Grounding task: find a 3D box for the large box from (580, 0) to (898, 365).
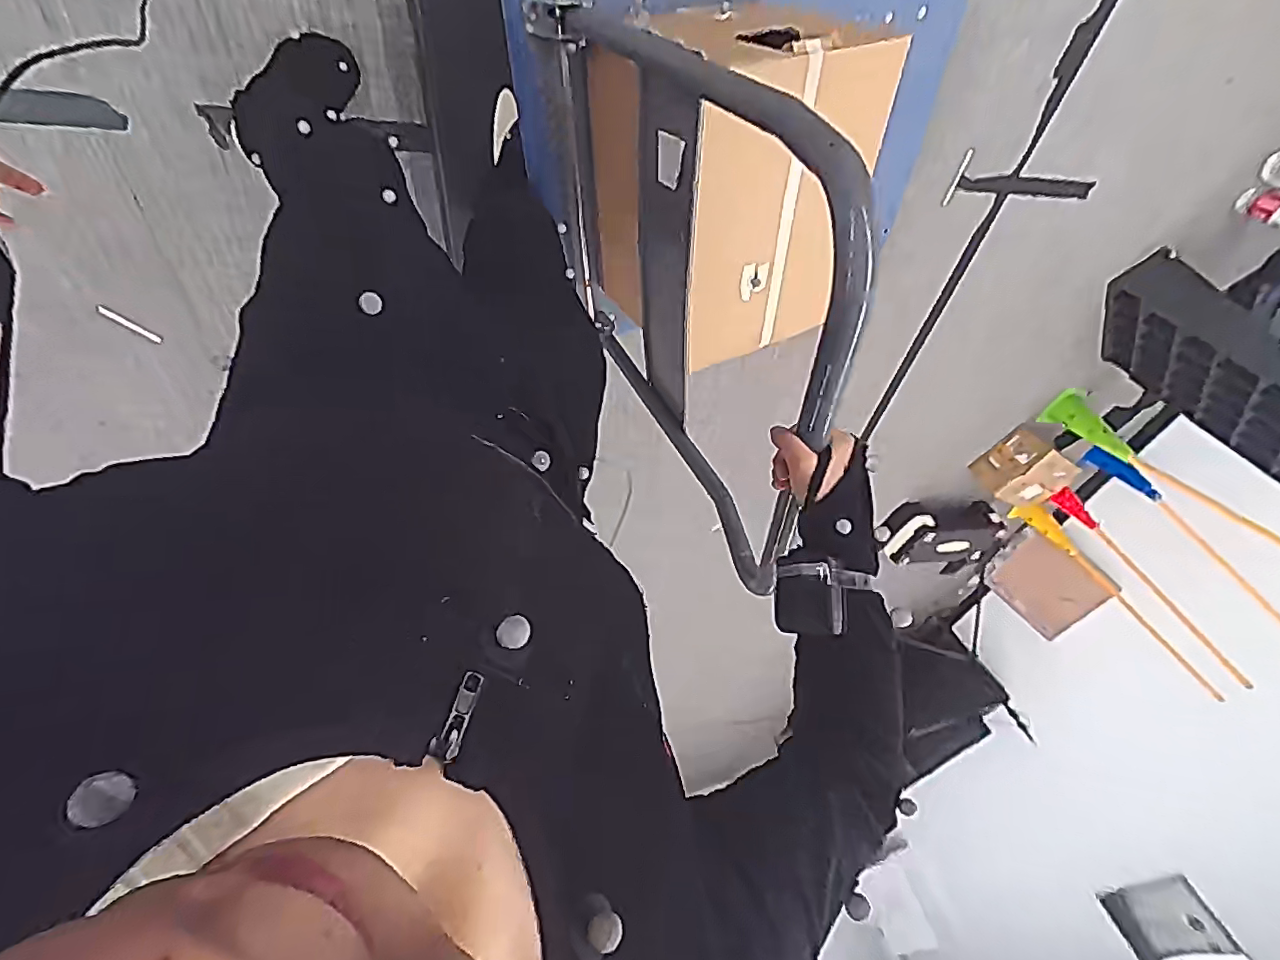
[{"bbox_3d":[0.122,-0.469,0.857,0.320,0.320,0.408,-23,143,-17],"label":"large box"}]
